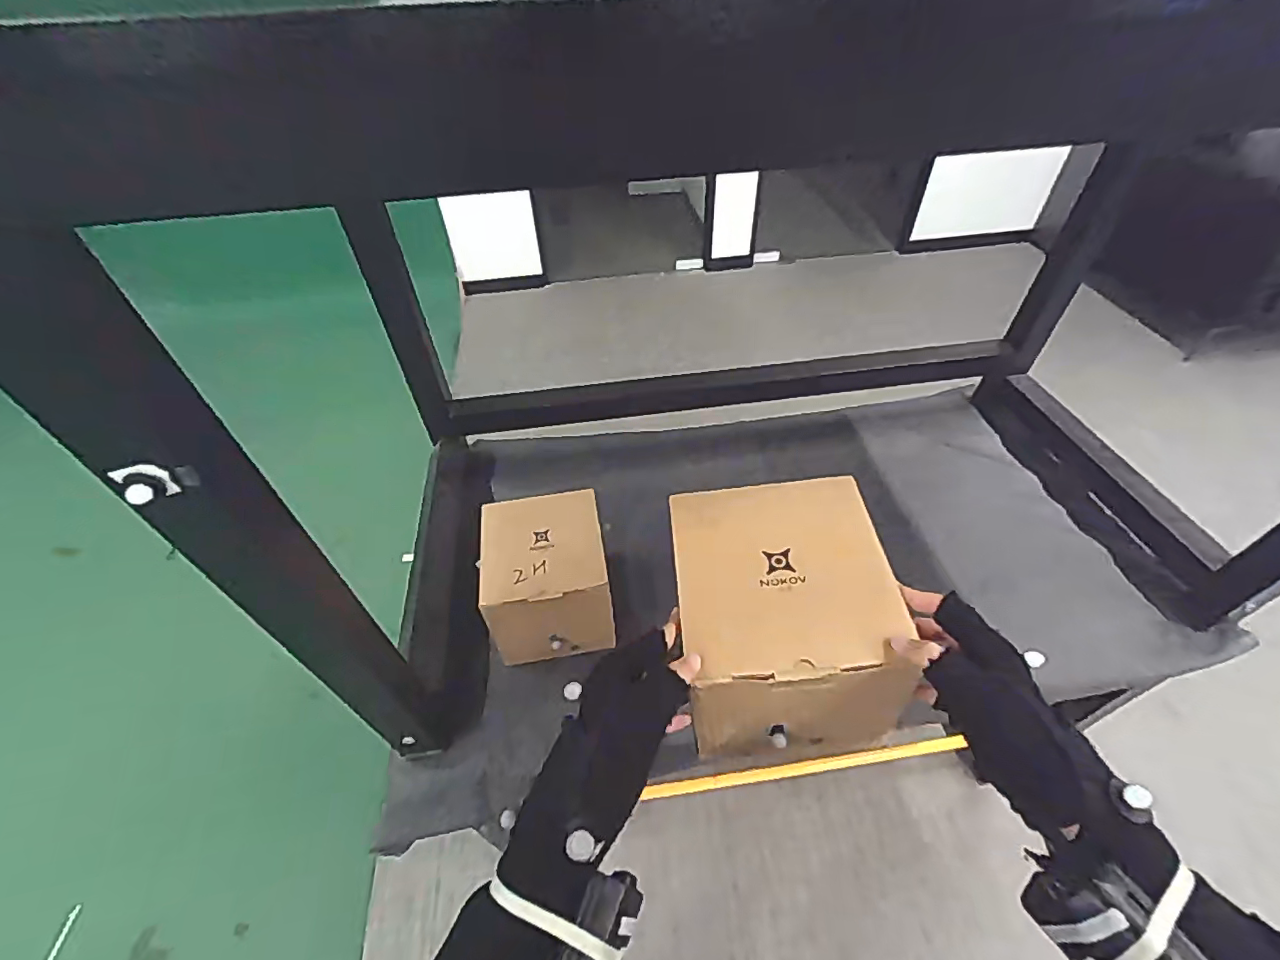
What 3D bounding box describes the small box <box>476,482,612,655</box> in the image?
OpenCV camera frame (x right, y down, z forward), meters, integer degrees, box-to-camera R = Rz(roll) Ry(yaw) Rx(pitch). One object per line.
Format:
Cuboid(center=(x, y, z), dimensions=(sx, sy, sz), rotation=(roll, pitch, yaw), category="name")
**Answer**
Cuboid(center=(-0.136, 0.130, 0.794), dimensions=(0.168, 0.176, 0.179), rotation=(-8, 47, -5), category="small box")
